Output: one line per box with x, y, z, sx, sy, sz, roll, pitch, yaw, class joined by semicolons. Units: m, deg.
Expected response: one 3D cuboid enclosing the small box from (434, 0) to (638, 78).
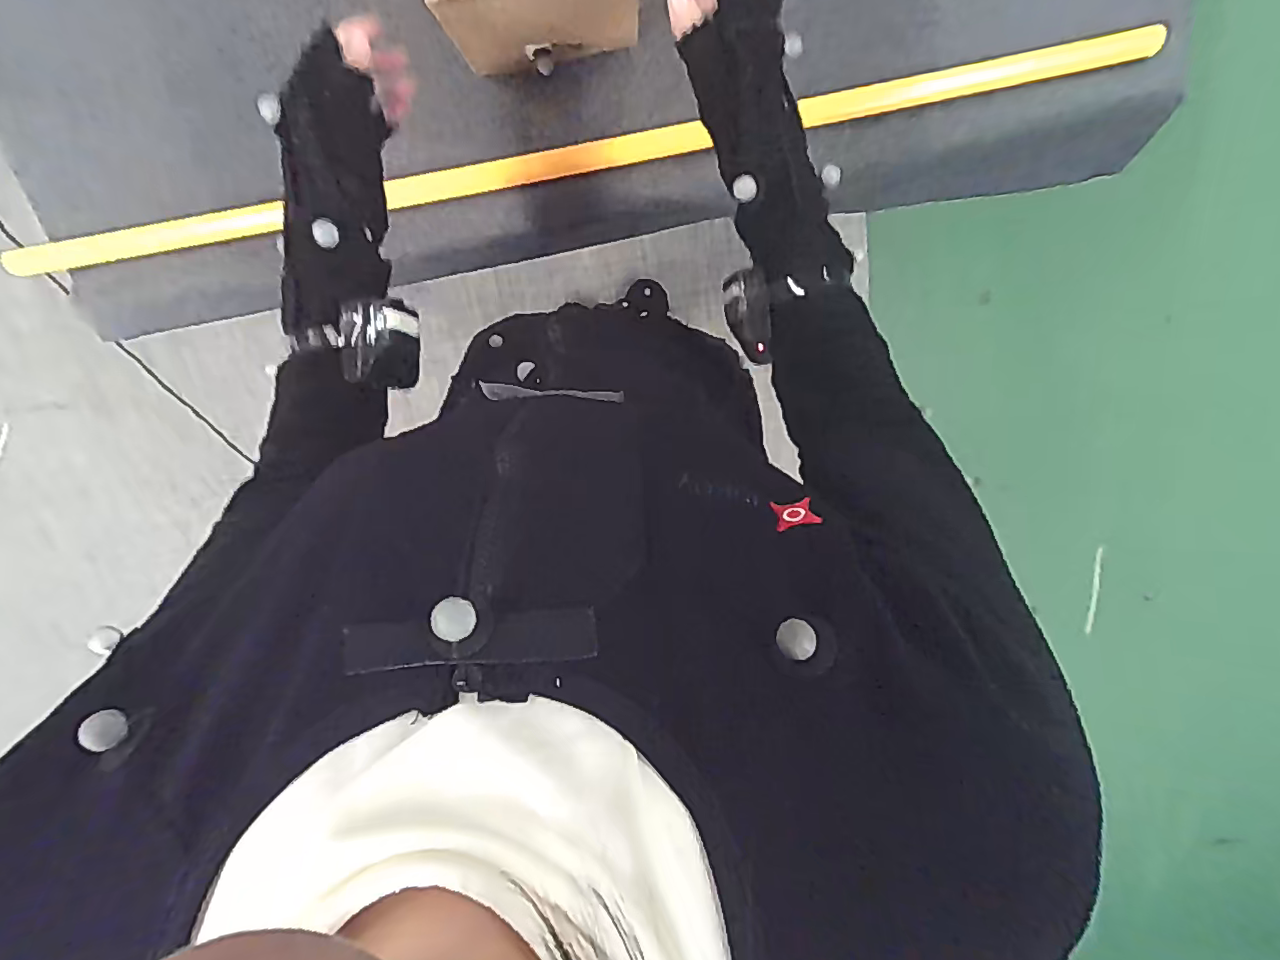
-0.097;-0.476;0.445;0.168;0.176;0.179;-11;111;3;small box
